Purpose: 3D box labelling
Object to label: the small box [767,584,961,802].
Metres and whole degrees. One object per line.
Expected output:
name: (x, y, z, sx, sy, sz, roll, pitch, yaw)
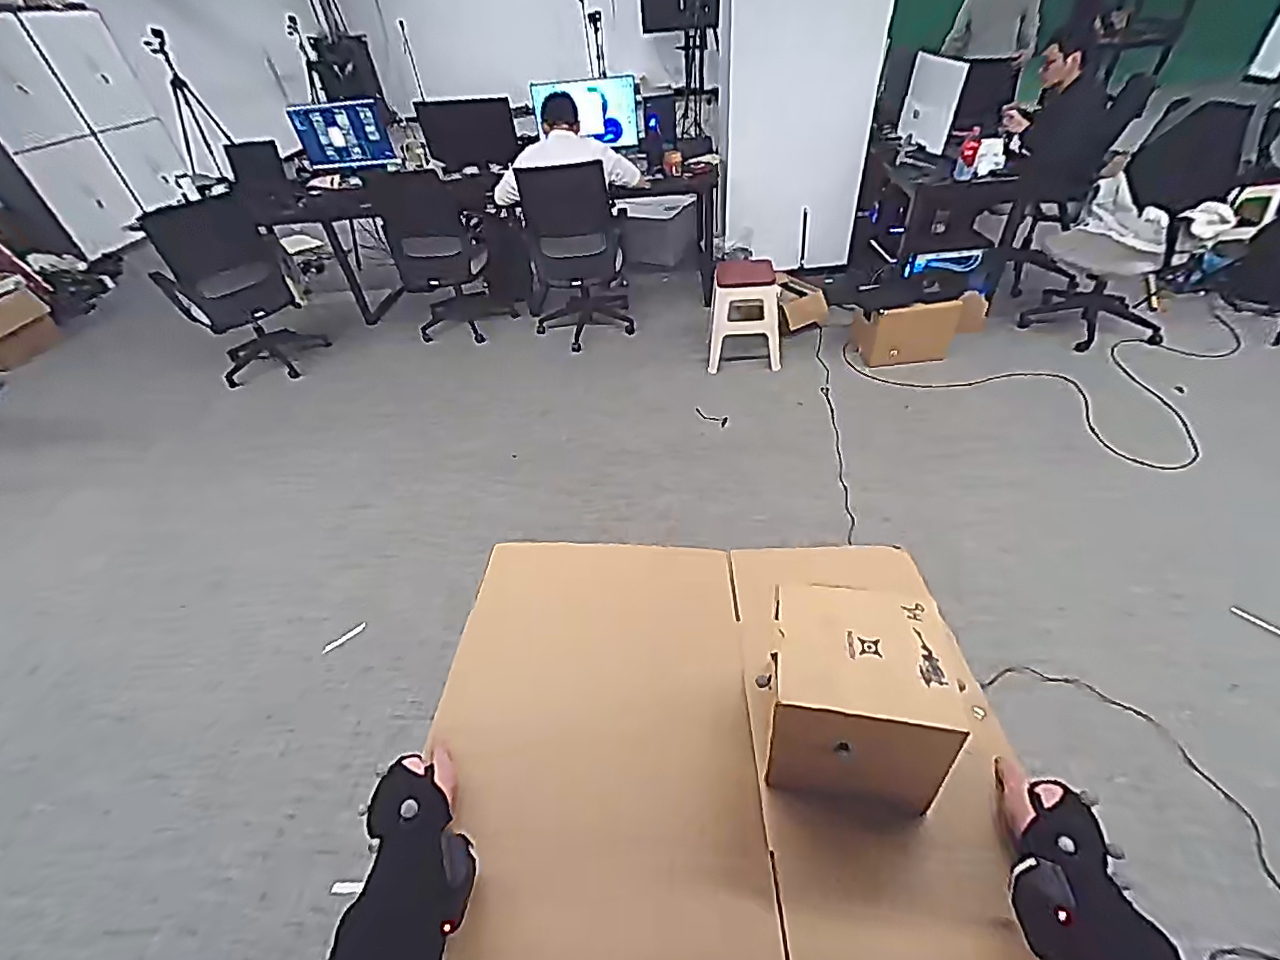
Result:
small box: (0.240, 0.244, 0.628, 0.179, 0.176, 0.168, 3, 38, 13)
